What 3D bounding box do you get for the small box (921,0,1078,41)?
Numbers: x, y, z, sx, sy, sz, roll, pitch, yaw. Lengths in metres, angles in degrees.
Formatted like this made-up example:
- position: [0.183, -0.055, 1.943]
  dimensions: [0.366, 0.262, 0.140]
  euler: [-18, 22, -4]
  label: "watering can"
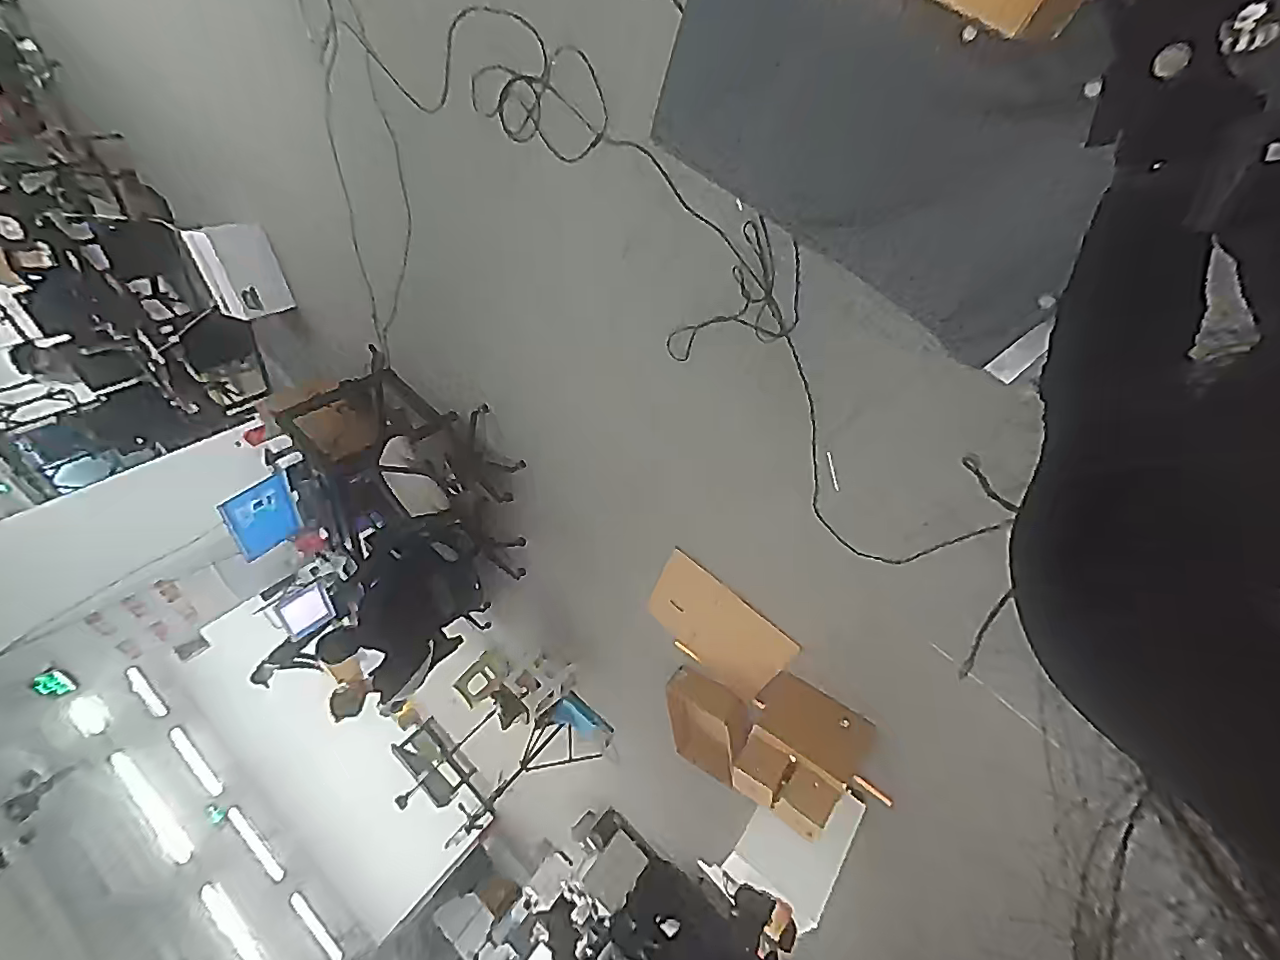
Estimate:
- position: [0.293, -0.474, 0.424]
  dimensions: [0.179, 0.176, 0.168]
  euler: [40, 140, 13]
  label: "small box"
